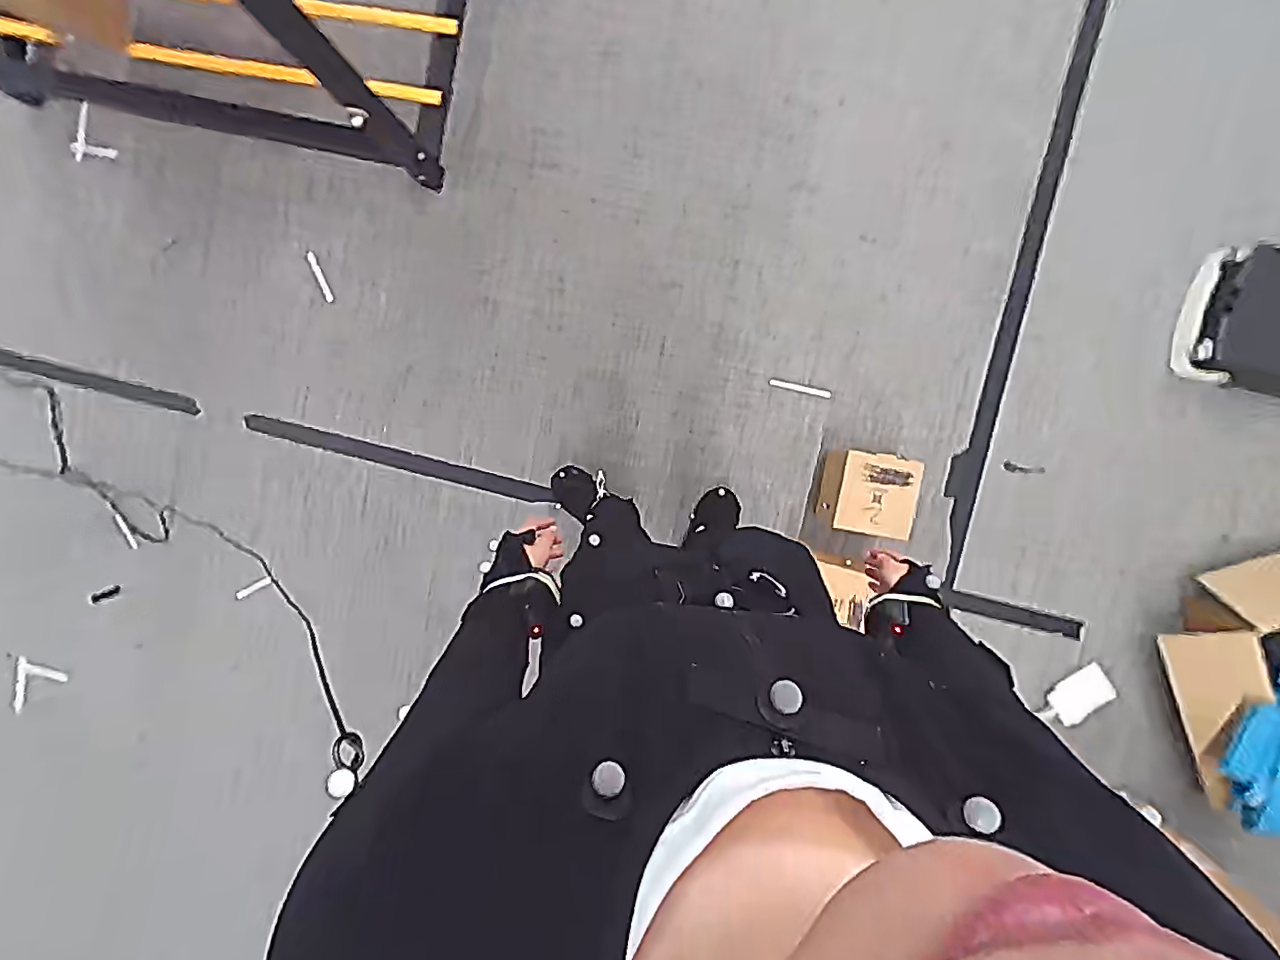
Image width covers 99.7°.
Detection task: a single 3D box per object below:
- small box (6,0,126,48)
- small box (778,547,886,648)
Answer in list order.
[{"bbox_3d":[-1.295,-1.115,1.198,0.168,0.176,0.179,10,97,4],"label":"small box"},{"bbox_3d":[0.441,0.267,1.273,0.179,0.176,0.168,16,96,4],"label":"small box"}]
